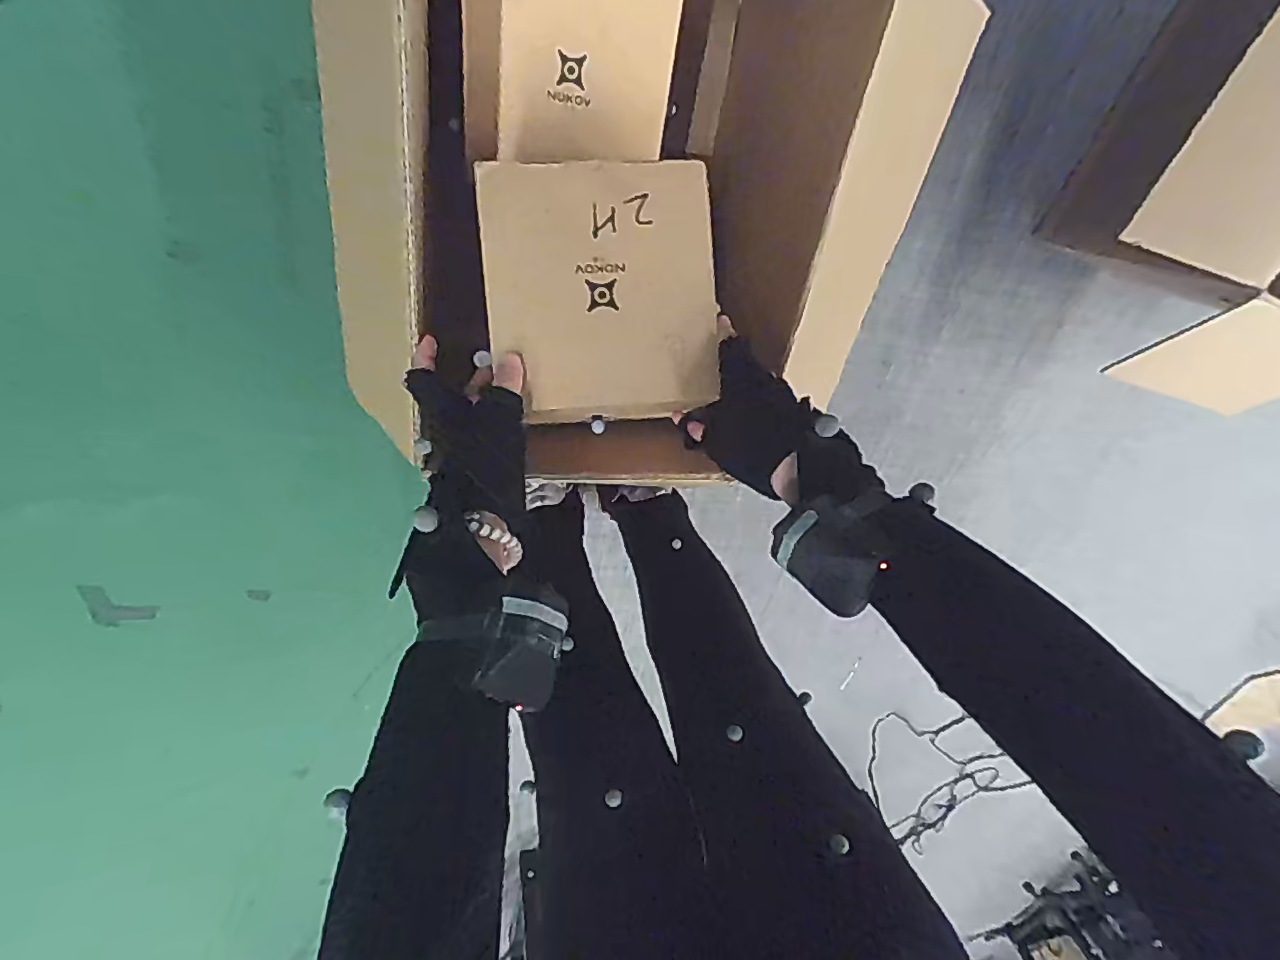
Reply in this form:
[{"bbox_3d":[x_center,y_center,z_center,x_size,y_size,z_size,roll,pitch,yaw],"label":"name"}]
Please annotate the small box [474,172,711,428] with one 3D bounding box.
[{"bbox_3d":[-0.041,-0.139,0.475,0.168,0.176,0.179,-5,92,-8],"label":"small box"}]
